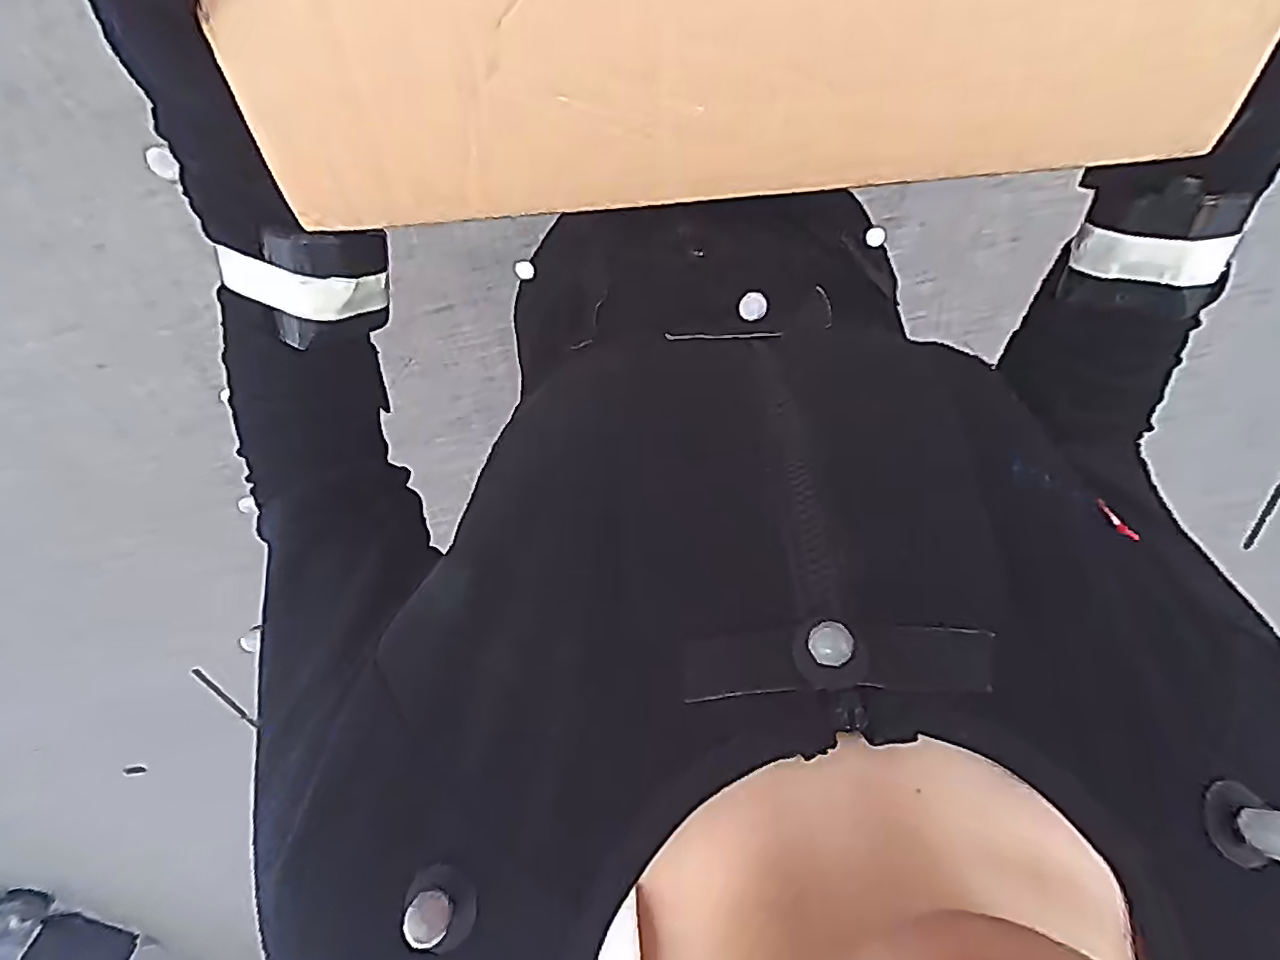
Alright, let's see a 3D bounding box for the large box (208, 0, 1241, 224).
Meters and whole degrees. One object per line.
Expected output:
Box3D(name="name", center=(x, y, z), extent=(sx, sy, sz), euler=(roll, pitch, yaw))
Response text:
Box3D(name="large box", center=(0.028, -0.351, 0.248), extent=(0.408, 0.320, 0.320), euler=(-5, 134, 1))
